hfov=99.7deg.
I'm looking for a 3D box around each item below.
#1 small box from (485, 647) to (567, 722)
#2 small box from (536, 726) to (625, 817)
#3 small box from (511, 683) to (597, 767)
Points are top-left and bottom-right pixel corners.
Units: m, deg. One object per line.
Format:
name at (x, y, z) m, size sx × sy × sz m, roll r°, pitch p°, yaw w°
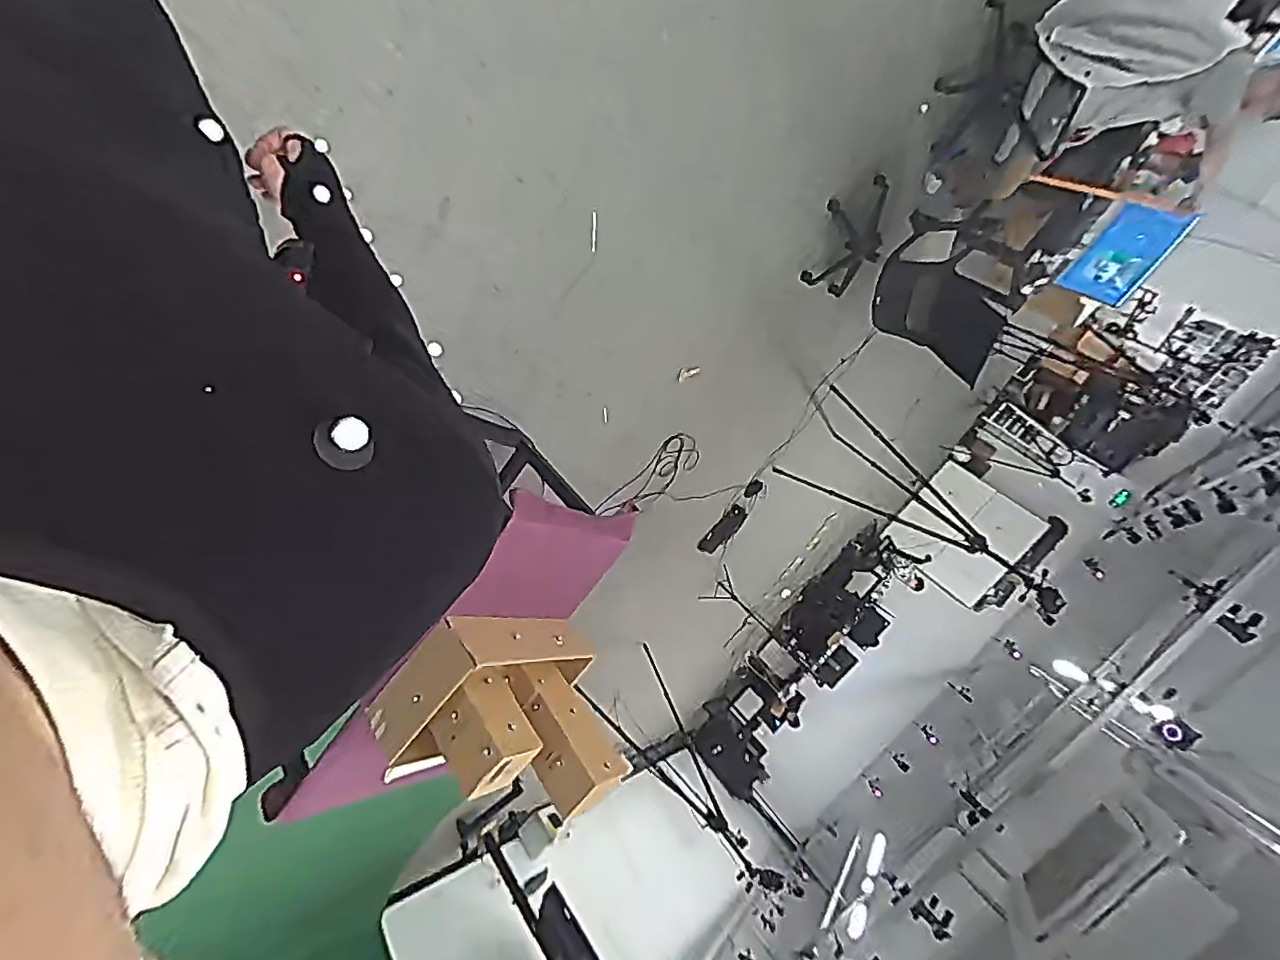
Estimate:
small box at (-0.385, 0.683, 1.826) m, size 0.168 × 0.176 × 0.179 m, roll -51°, pitch 148°, yaw 10°
small box at (-0.185, 0.885, 1.665) m, size 0.168 × 0.176 × 0.179 m, roll -51°, pitch 148°, yaw 10°
small box at (-0.282, 0.785, 1.748) m, size 0.168 × 0.176 × 0.179 m, roll -51°, pitch 149°, yaw 11°
